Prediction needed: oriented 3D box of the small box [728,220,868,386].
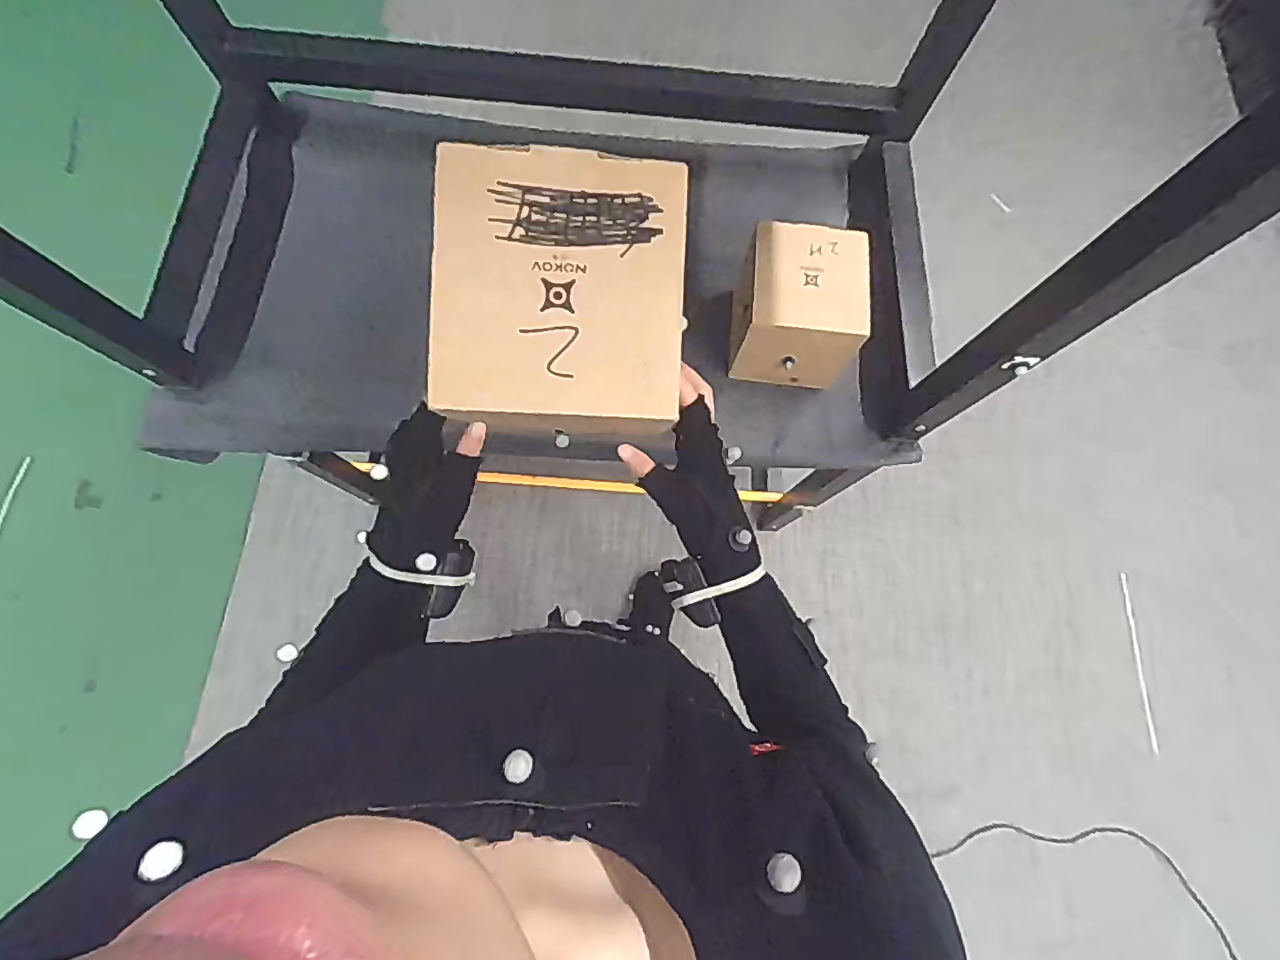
[{"bbox_3d":[0.237,-0.264,0.840,0.168,0.176,0.179,7,73,-1],"label":"small box"}]
